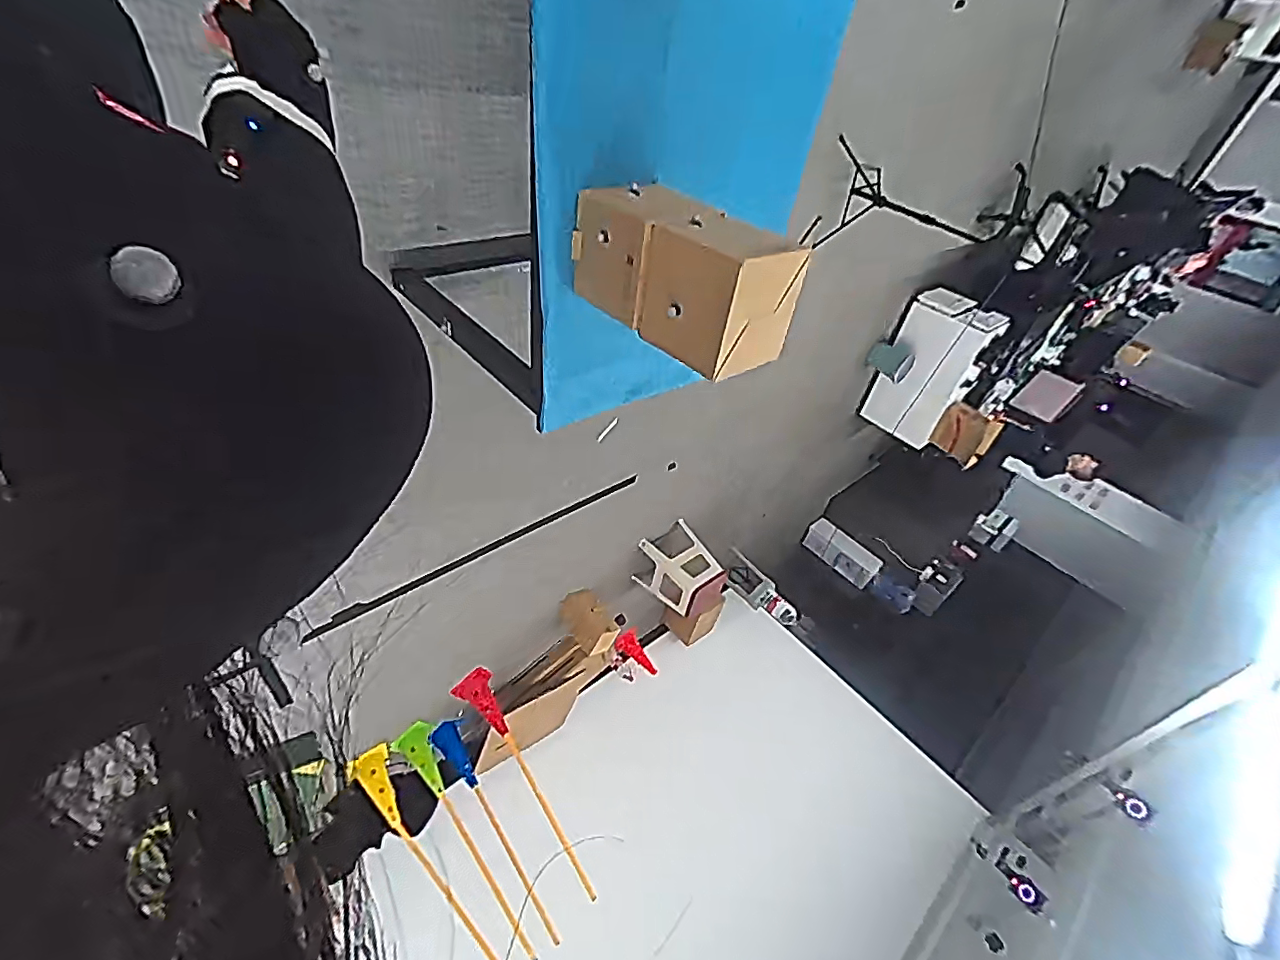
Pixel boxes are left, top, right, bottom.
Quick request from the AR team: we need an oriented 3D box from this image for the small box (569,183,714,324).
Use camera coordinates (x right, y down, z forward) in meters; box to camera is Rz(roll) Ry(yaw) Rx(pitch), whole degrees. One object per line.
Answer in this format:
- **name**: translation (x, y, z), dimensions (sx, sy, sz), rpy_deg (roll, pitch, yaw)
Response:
- **small box**: translation (0.002, -0.377, 0.900), dimensions (0.179, 0.176, 0.168), rpy_deg (-28, 144, -34)

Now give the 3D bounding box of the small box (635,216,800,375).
- **small box**: translation (0.114, -0.283, 0.826), dimensions (0.168, 0.176, 0.179), rpy_deg (-28, 141, -36)
